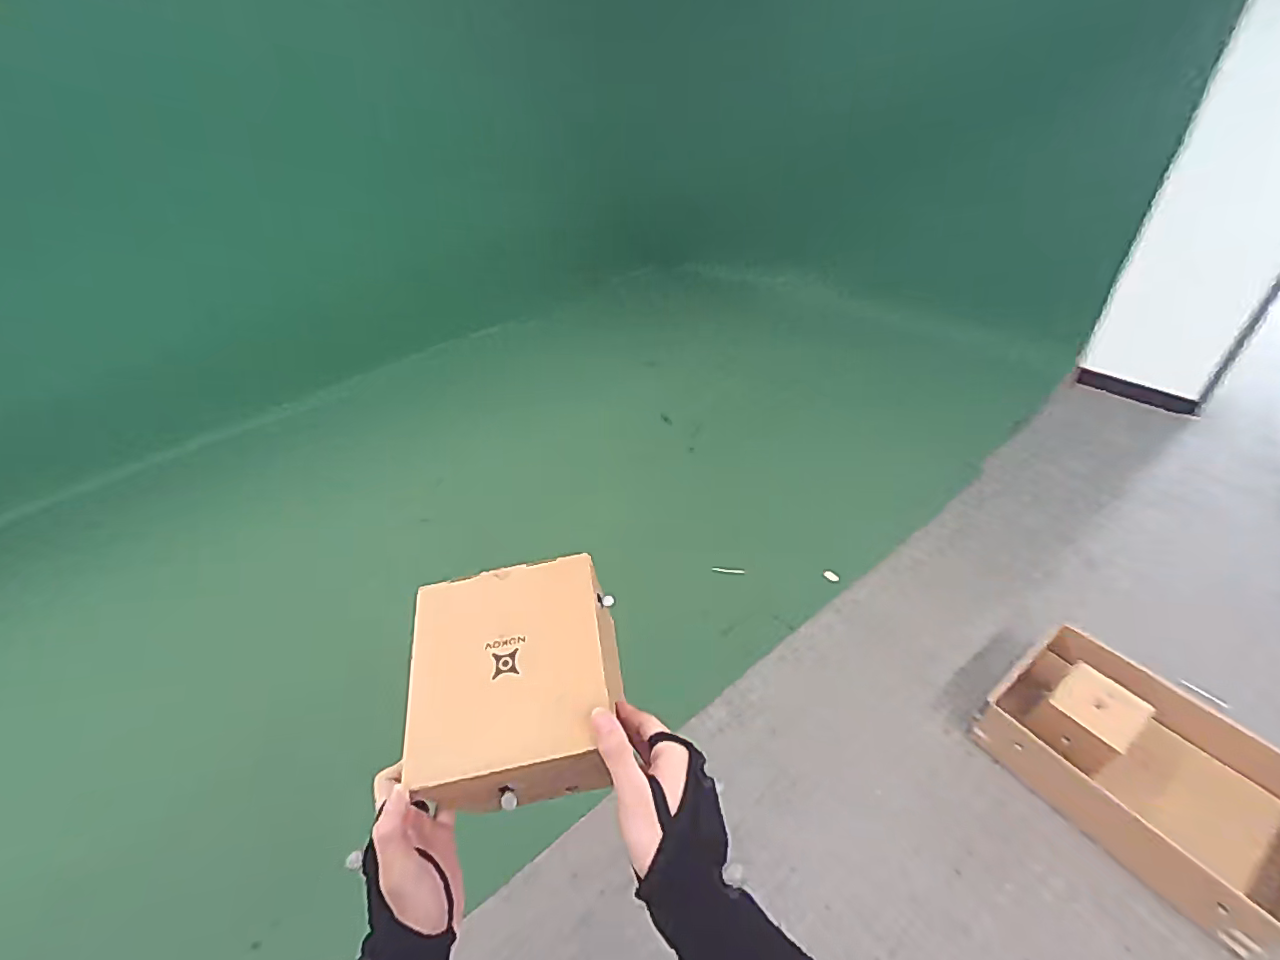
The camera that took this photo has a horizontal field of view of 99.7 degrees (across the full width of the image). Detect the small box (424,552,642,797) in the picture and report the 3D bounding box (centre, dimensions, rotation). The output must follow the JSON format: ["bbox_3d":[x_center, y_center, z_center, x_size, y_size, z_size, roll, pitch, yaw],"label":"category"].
[{"bbox_3d":[-0.096,0.200,0.537,0.168,0.176,0.179,-11,52,-2],"label":"small box"}]

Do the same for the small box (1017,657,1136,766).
[{"bbox_3d":[1.139,0.614,1.428,0.179,0.176,0.168,-30,47,-22],"label":"small box"}]
